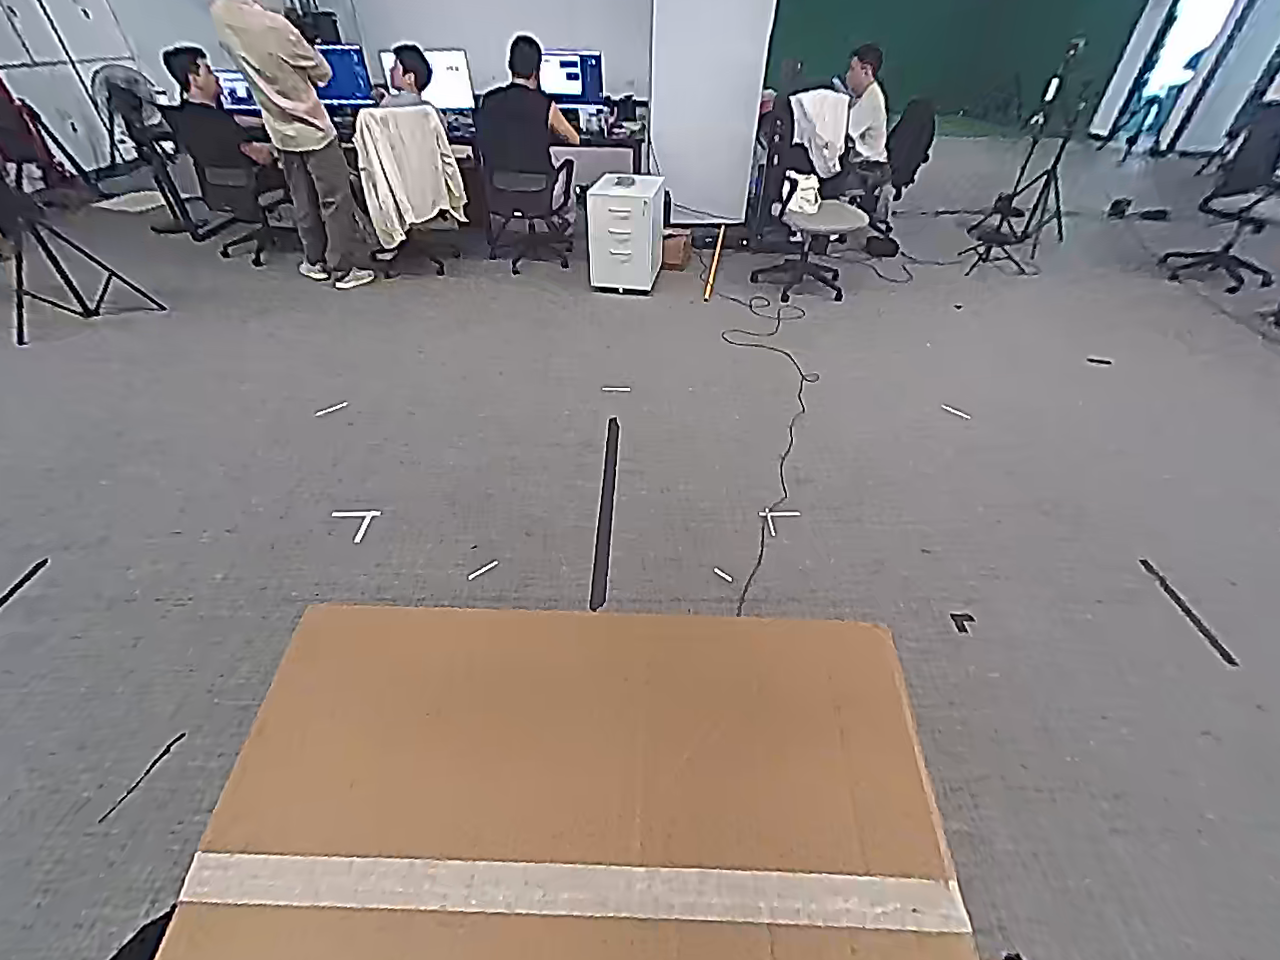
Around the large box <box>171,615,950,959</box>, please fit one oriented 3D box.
[{"bbox_3d":[-0.040,0.314,0.410,0.408,0.320,0.320,1,52,1],"label":"large box"}]
